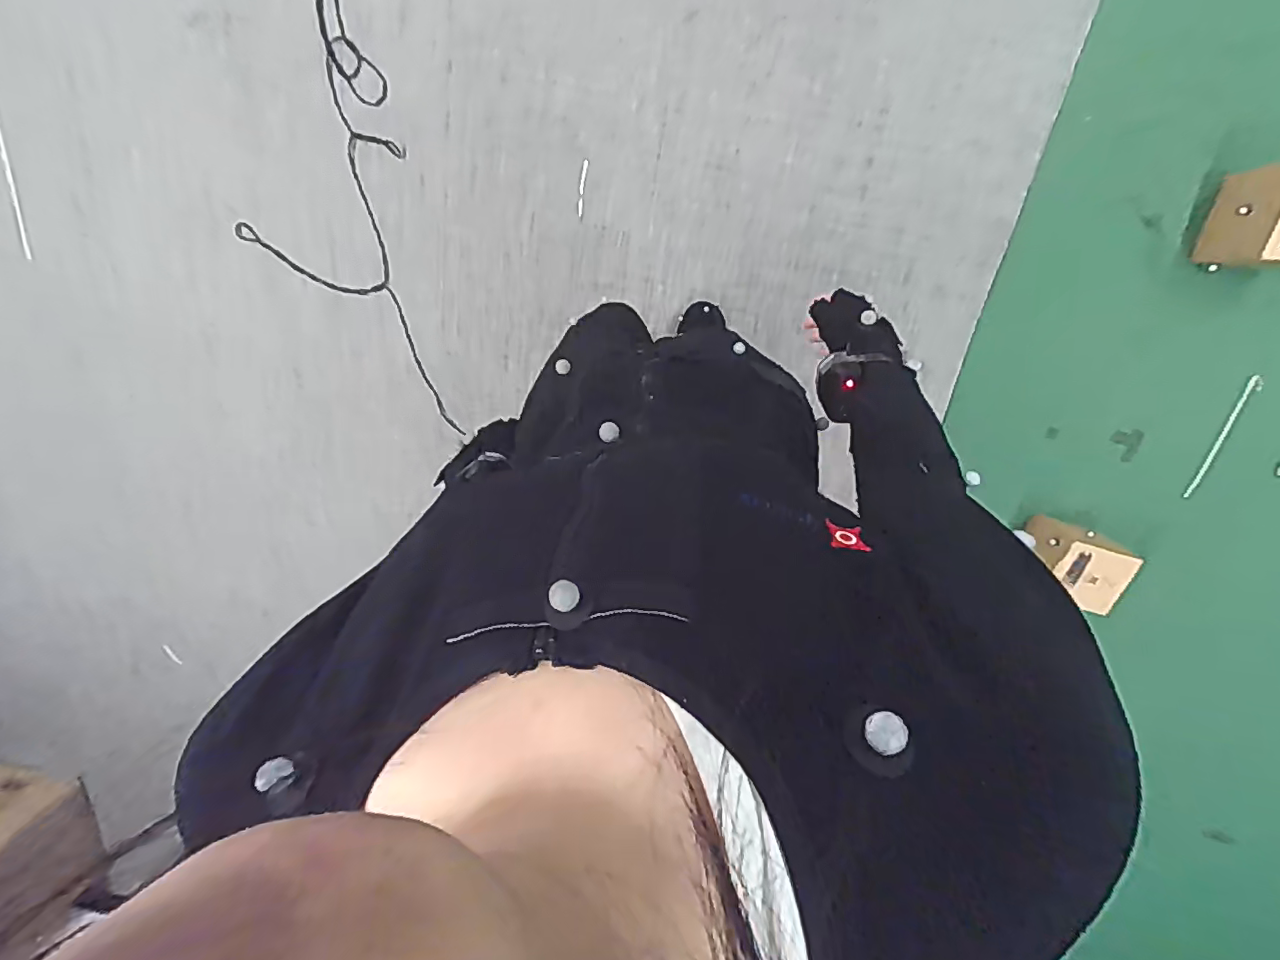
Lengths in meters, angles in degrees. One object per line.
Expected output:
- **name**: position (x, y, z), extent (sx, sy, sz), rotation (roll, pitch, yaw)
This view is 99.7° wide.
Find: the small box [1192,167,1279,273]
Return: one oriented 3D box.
- **small box**: position (1.303, -0.524, 1.103), extent (0.168, 0.176, 0.179), rotation (8, 109, 3)
